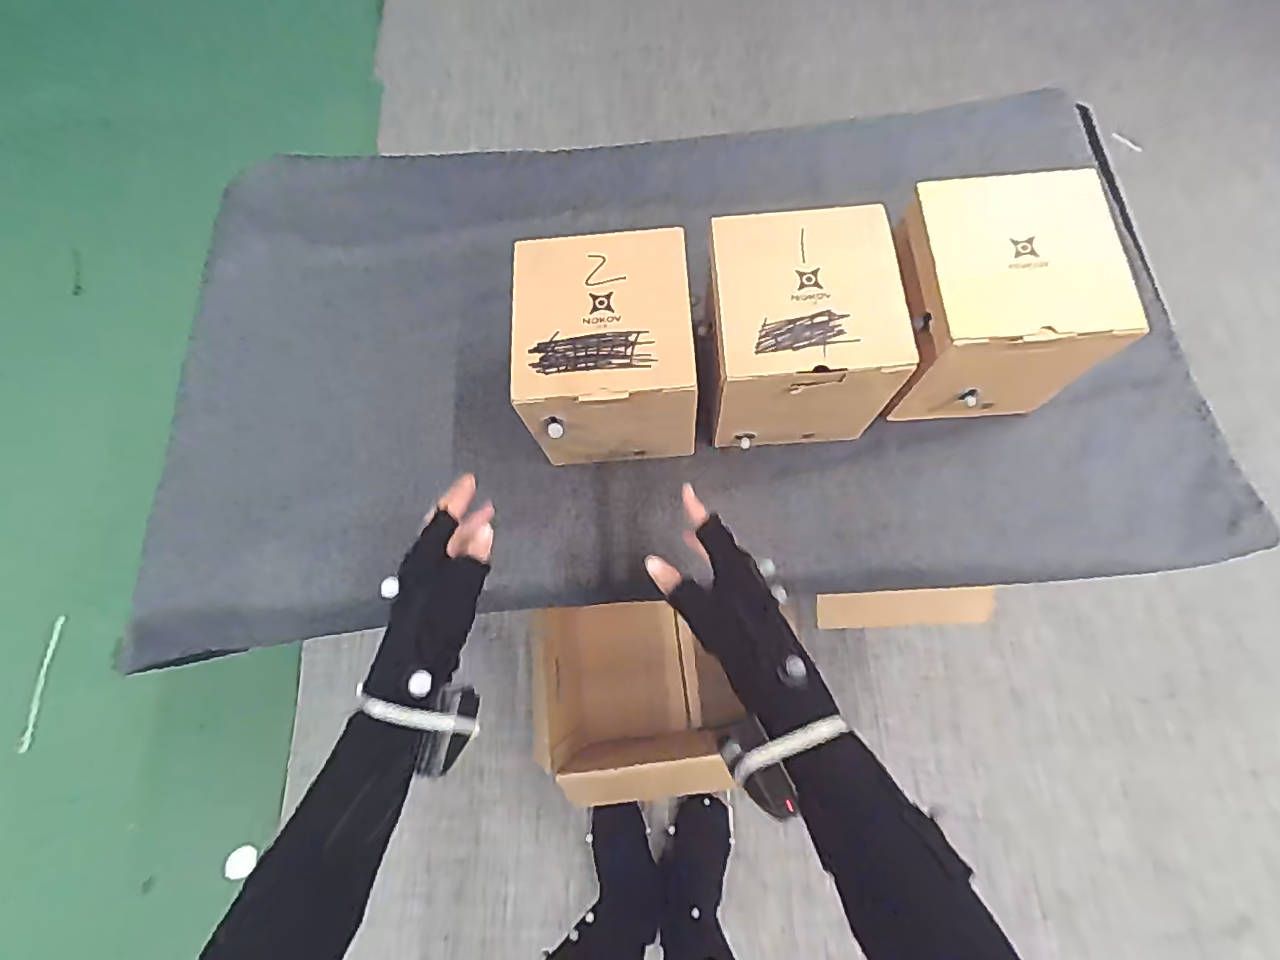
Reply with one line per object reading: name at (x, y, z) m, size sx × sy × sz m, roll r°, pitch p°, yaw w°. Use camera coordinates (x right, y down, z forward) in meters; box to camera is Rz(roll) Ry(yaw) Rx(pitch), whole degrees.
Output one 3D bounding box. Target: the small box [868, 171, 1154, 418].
small box at (0.354, -0.180, 0.560) m, size 0.168 × 0.176 × 0.179 m, roll -3°, pitch 73°, yaw 3°
